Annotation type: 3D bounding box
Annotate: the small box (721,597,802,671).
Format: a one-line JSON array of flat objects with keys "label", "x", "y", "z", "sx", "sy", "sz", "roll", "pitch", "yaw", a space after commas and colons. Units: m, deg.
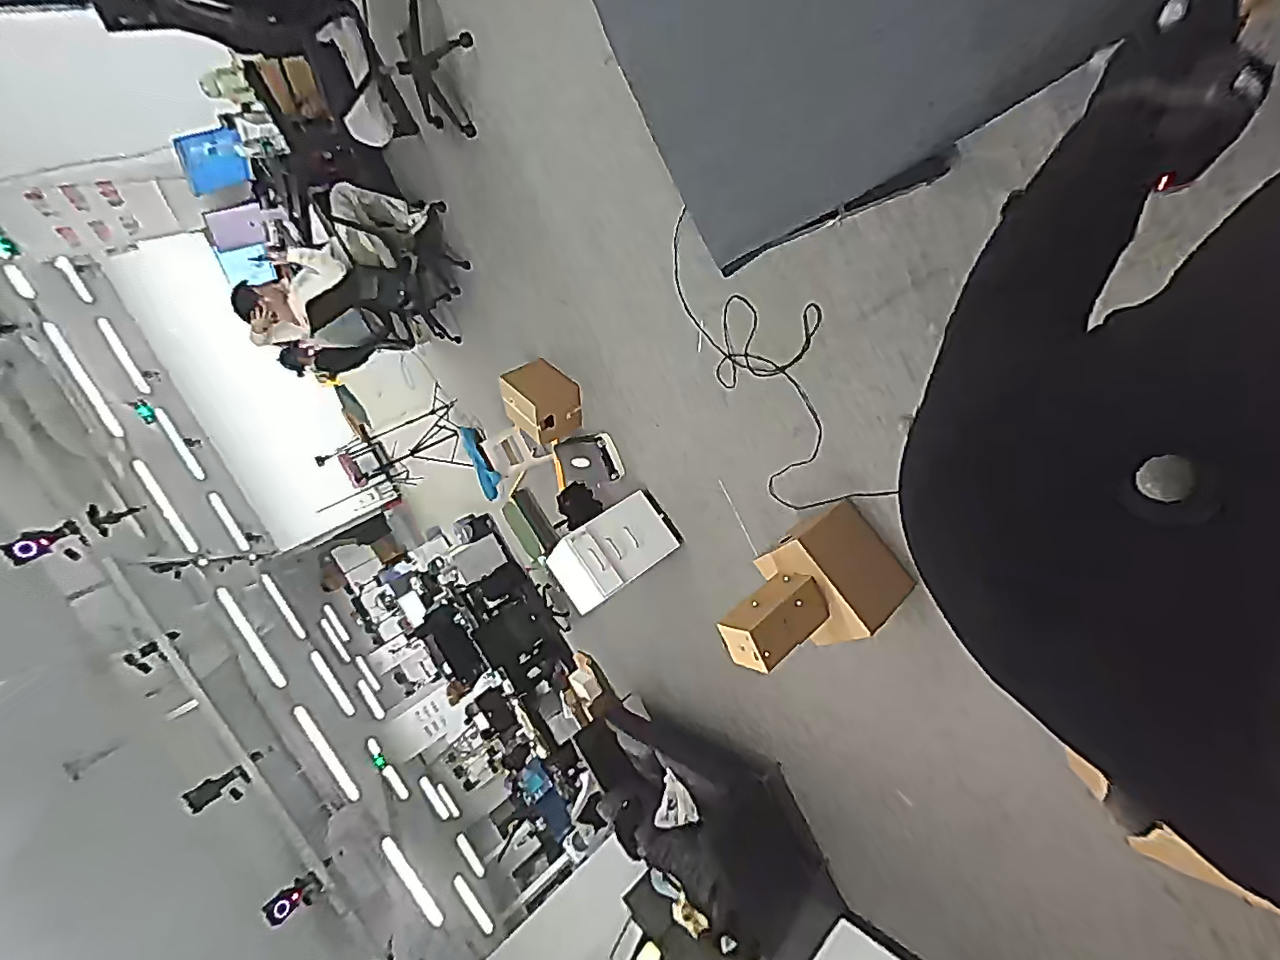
[{"label": "small box", "x": 0.418, "y": 0.519, "z": 1.857, "sx": 0.179, "sy": 0.176, "sz": 0.168, "roll": -7, "pitch": 112, "yaw": 61}]
